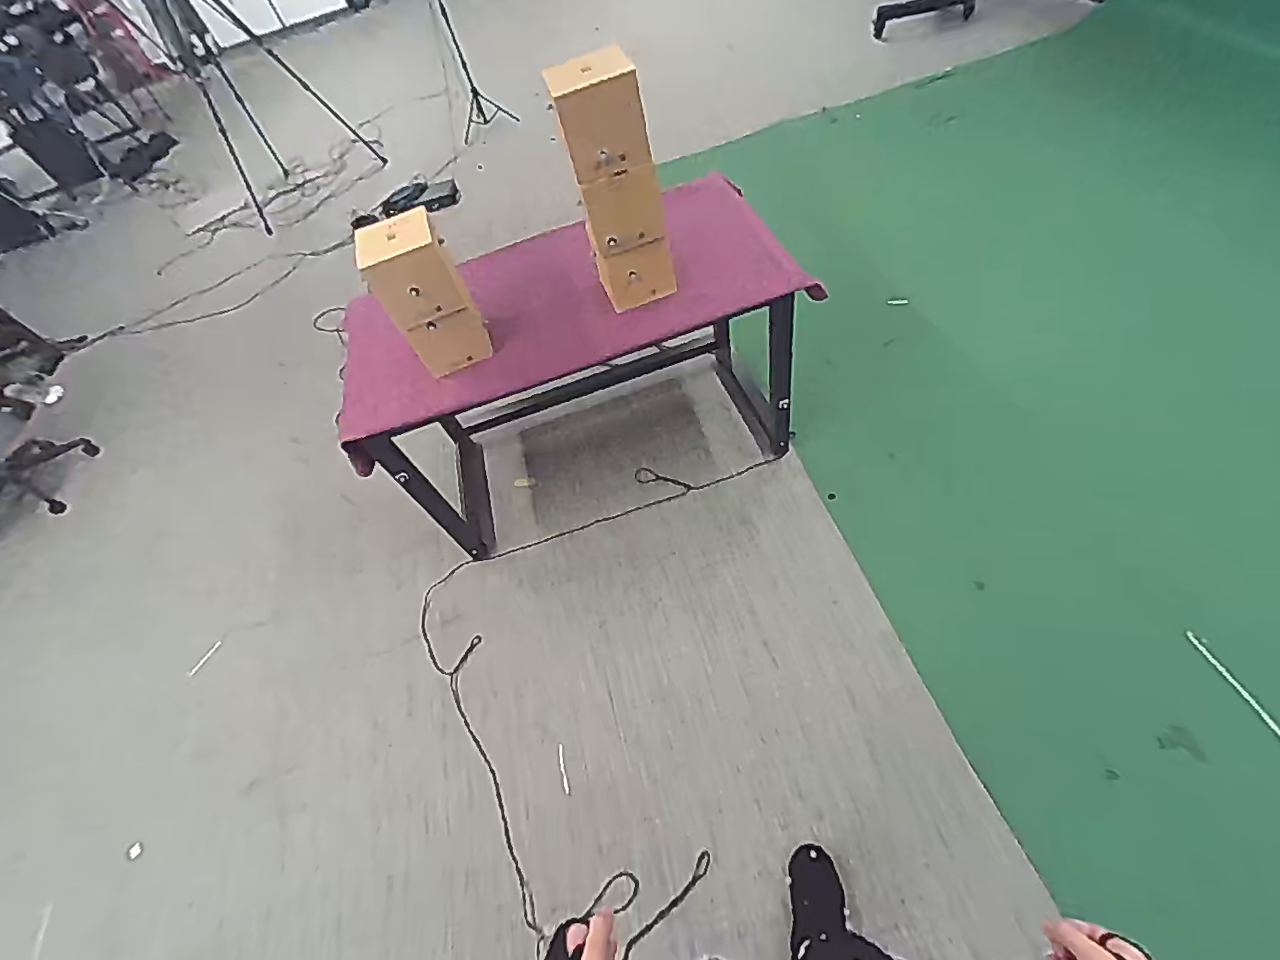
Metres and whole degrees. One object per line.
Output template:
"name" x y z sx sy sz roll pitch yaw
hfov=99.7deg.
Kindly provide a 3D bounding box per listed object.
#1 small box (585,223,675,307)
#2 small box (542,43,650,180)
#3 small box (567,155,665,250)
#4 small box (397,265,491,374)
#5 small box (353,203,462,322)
"small box" -0.023 -0.560 1.363 0.168 0.176 0.179 -21 52 -1
"small box" -0.088 -0.747 1.102 0.168 0.176 0.179 -18 53 1
"small box" -0.051 -0.649 1.227 0.168 0.176 0.179 -19 51 0
"small box" -0.494 -0.399 1.359 0.168 0.176 0.179 -24 53 -3
"small box" -0.518 -0.480 1.216 0.168 0.176 0.179 -22 54 -4
